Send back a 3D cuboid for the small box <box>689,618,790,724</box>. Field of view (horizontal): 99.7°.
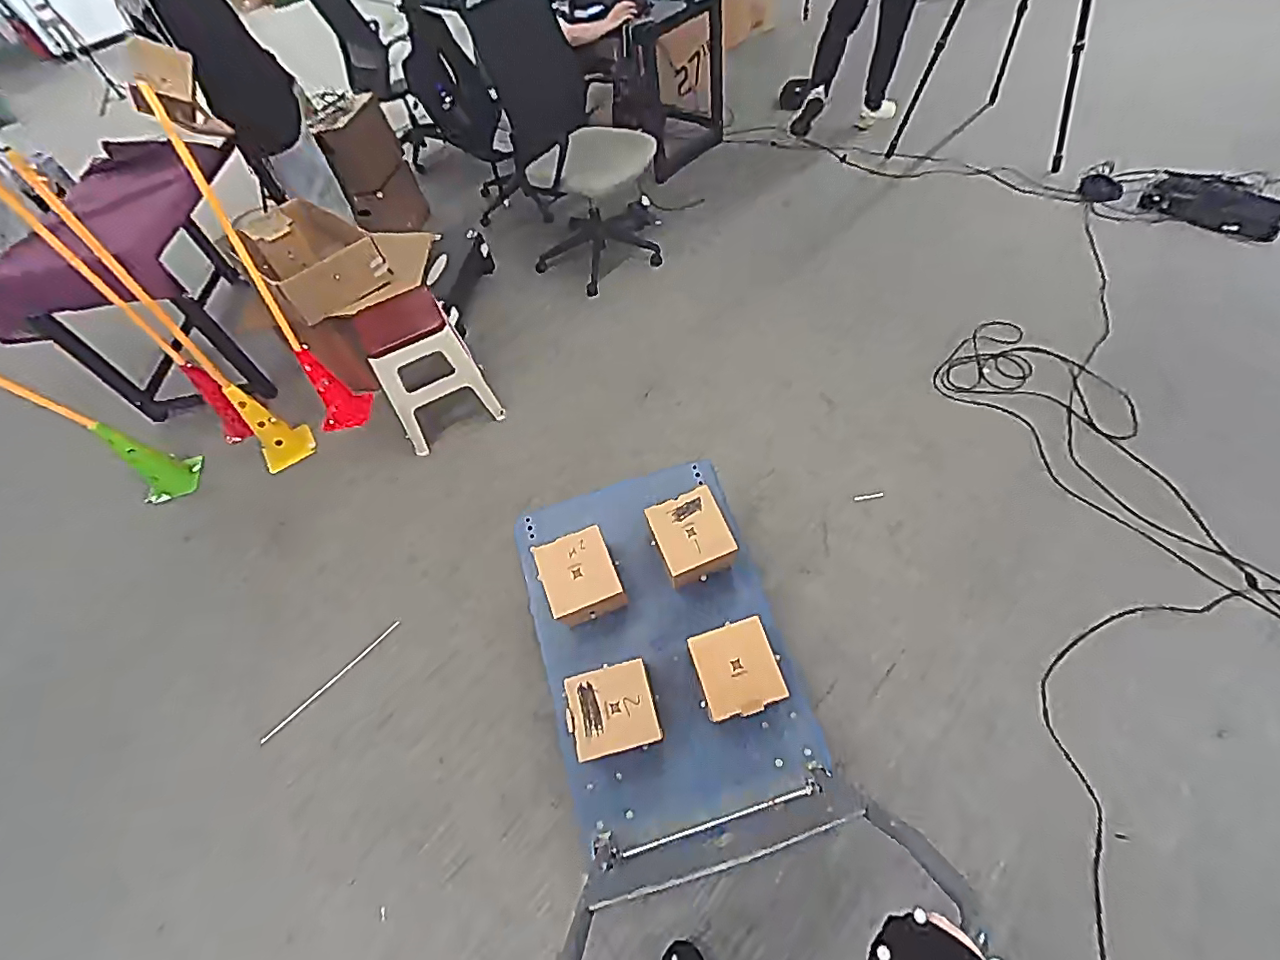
[{"bbox_3d":[0.212,0.430,1.209,0.168,0.176,0.179,-18,68,-4],"label":"small box"}]

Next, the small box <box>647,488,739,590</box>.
[{"bbox_3d":[0.125,0.150,1.329,0.168,0.176,0.179,-22,69,-5],"label":"small box"}]

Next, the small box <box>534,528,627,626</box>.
[{"bbox_3d":[-0.138,0.242,1.308,0.168,0.176,0.179,-21,68,-6],"label":"small box"}]
